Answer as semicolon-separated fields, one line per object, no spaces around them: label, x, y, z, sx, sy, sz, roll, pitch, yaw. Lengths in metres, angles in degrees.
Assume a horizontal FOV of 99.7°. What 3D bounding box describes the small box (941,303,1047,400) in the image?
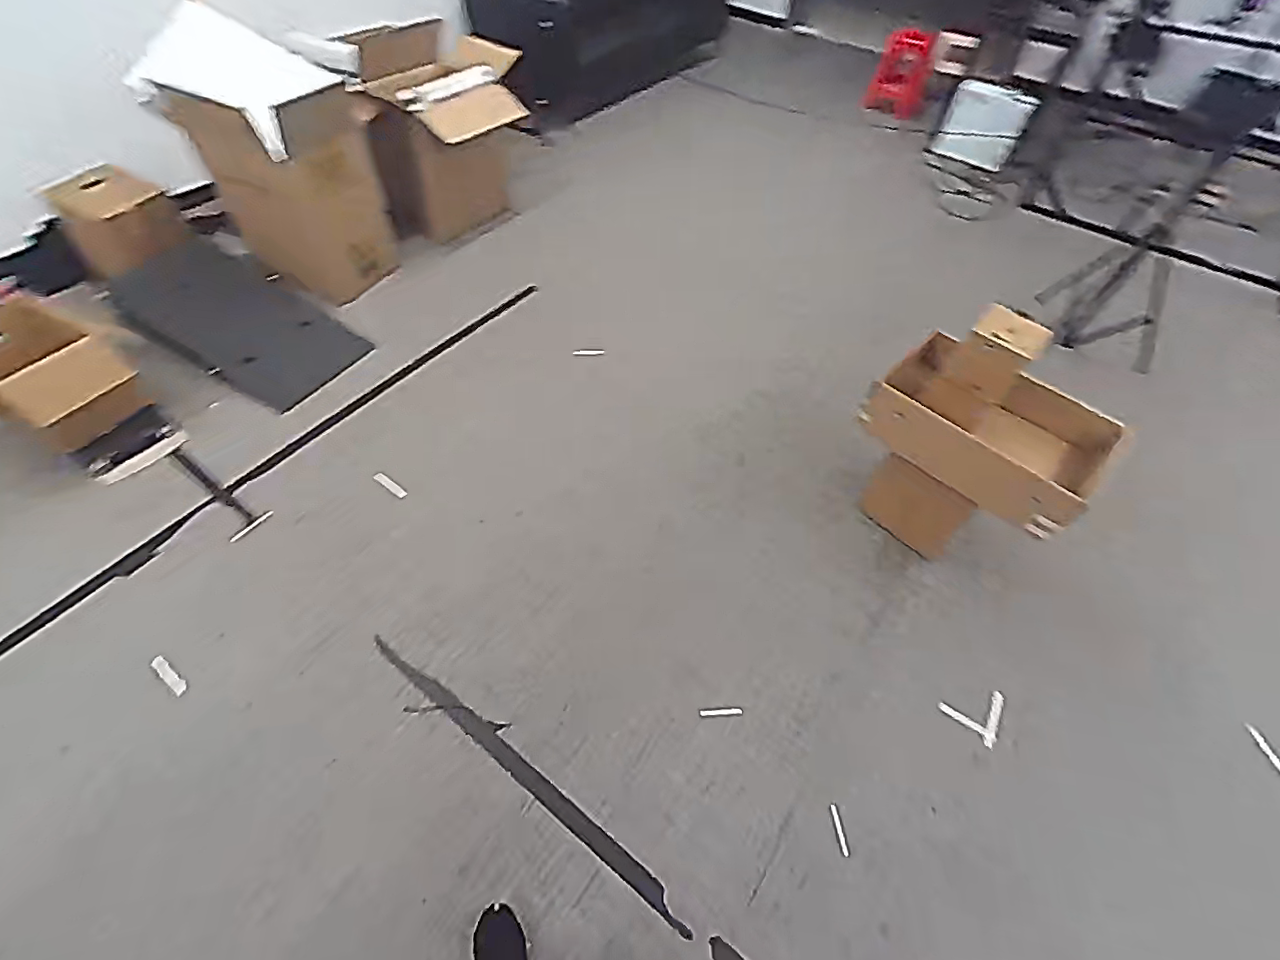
small box;0.988;-0.360;1.523;0.168;0.176;0.179;37;58;20
